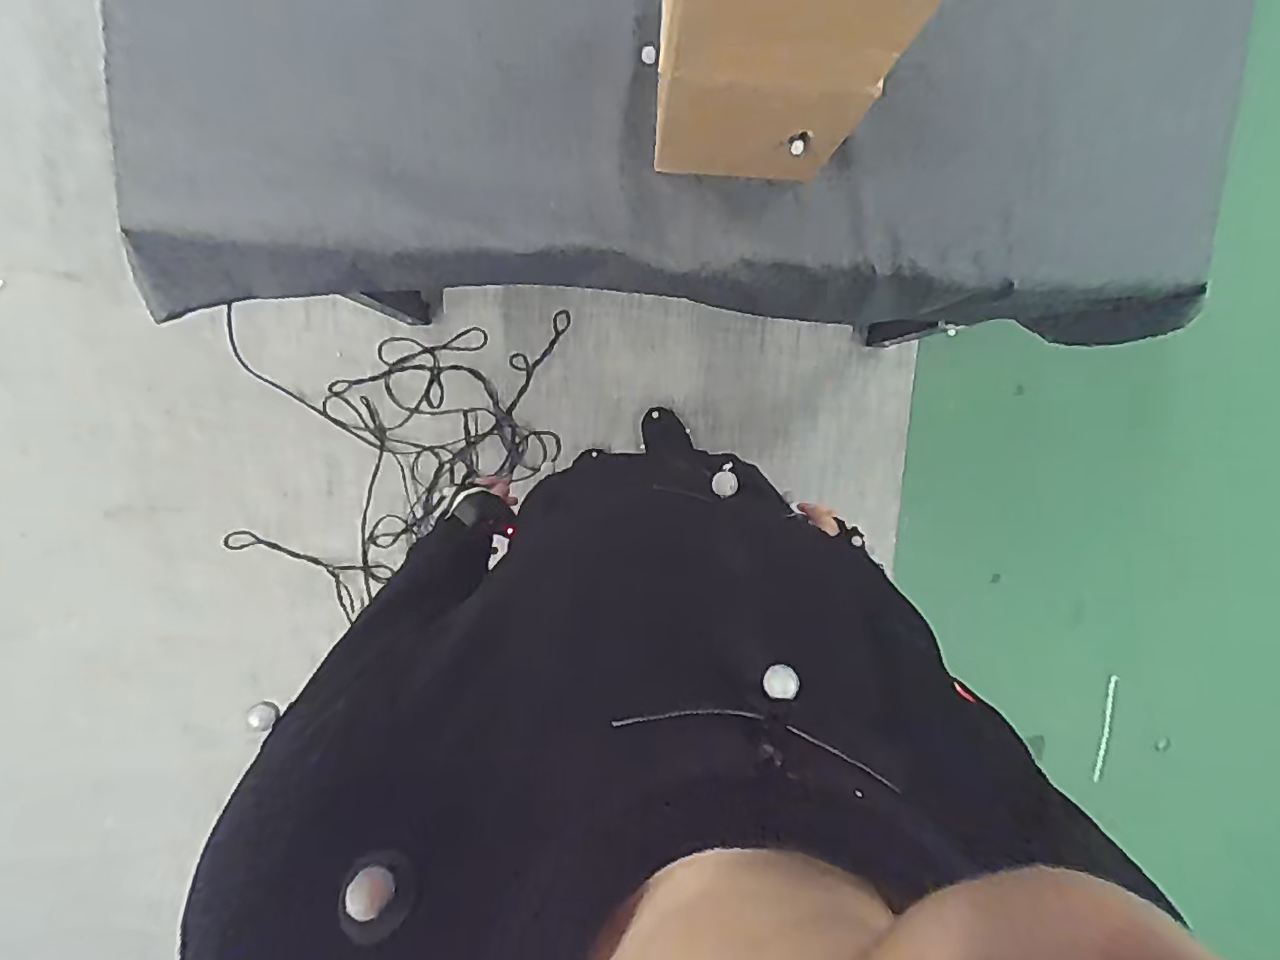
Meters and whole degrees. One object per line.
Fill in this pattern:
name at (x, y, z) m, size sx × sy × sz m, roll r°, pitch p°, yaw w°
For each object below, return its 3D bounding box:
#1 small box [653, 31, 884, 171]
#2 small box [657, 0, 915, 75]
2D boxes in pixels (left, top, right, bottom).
small box at (0.107, -0.409, 0.499) m, size 0.179 × 0.176 × 0.168 m, roll 2°, pitch 96°, yaw -2°
small box at (0.106, -0.394, 0.337) m, size 0.179 × 0.176 × 0.168 m, roll 3°, pitch 95°, yaw -4°
